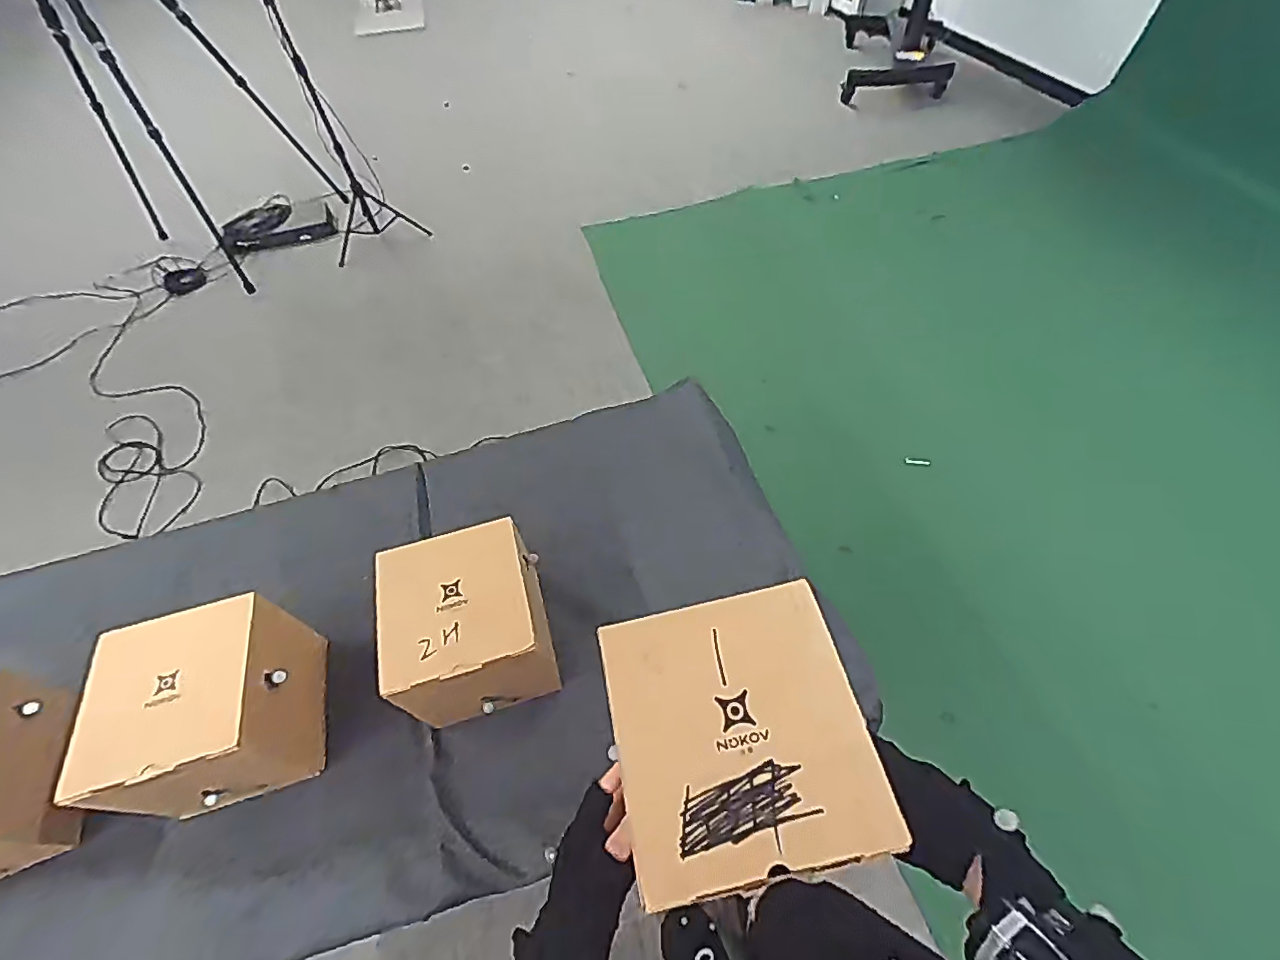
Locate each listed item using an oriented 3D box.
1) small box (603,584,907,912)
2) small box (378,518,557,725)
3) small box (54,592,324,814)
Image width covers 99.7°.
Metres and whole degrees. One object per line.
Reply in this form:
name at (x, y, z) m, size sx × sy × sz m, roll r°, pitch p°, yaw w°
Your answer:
small box at (0.074, 0.207, 0.431) m, size 0.168 × 0.176 × 0.179 m, roll -12°, pitch 58°, yaw -2°
small box at (-0.208, 0.179, 0.672) m, size 0.168 × 0.176 × 0.179 m, roll -15°, pitch 56°, yaw -8°
small box at (-0.491, 0.261, 0.627) m, size 0.168 × 0.176 × 0.179 m, roll -15°, pitch 56°, yaw -9°
